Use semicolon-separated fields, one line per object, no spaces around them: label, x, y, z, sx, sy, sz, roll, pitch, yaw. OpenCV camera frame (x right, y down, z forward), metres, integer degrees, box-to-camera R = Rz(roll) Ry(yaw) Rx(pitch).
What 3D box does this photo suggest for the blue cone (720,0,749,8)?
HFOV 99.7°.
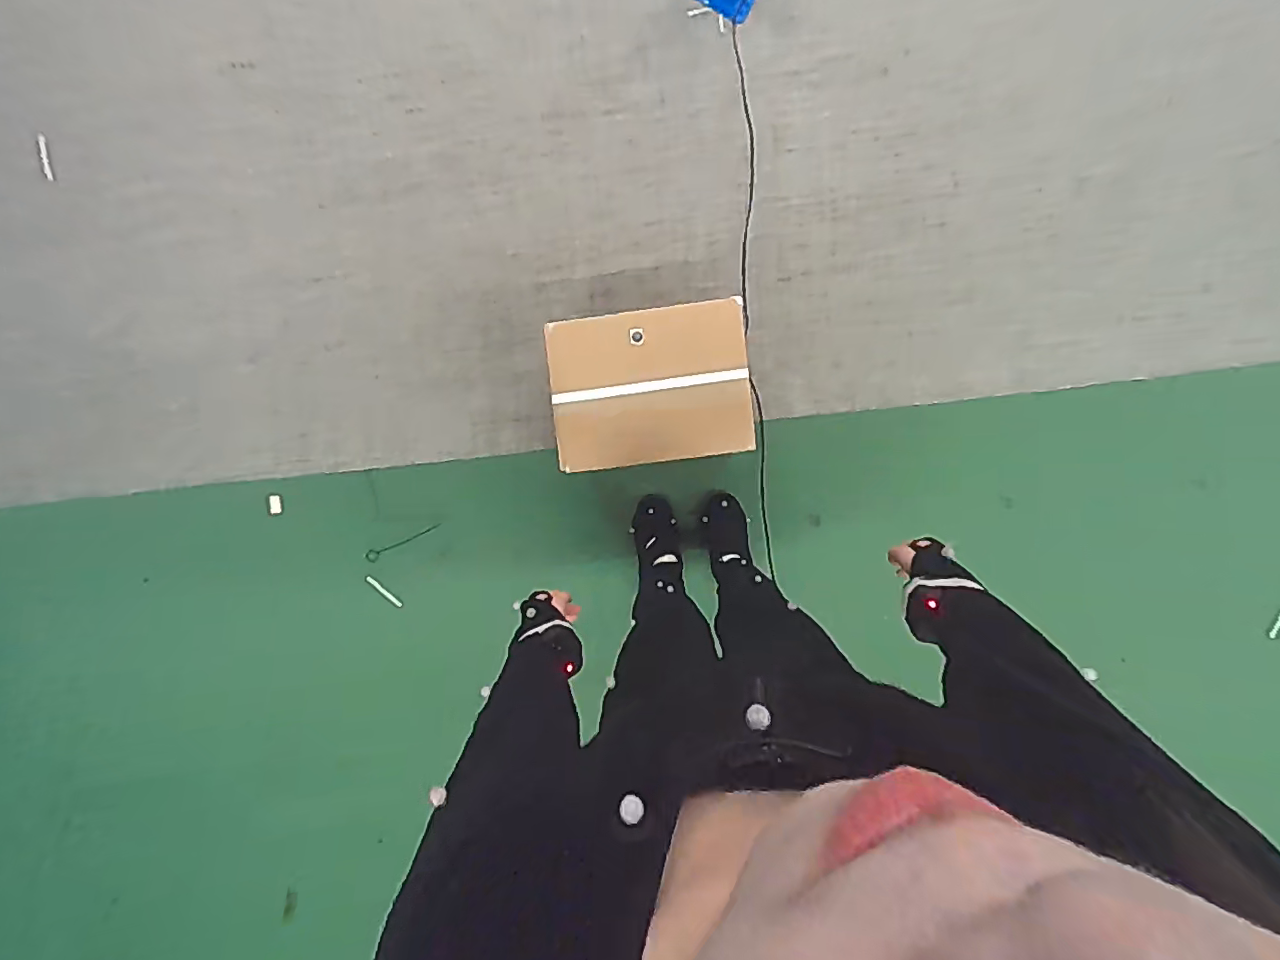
blue cone;0.191;-1.194;1.090;0.192;0.380;0.193;26;98;-1
